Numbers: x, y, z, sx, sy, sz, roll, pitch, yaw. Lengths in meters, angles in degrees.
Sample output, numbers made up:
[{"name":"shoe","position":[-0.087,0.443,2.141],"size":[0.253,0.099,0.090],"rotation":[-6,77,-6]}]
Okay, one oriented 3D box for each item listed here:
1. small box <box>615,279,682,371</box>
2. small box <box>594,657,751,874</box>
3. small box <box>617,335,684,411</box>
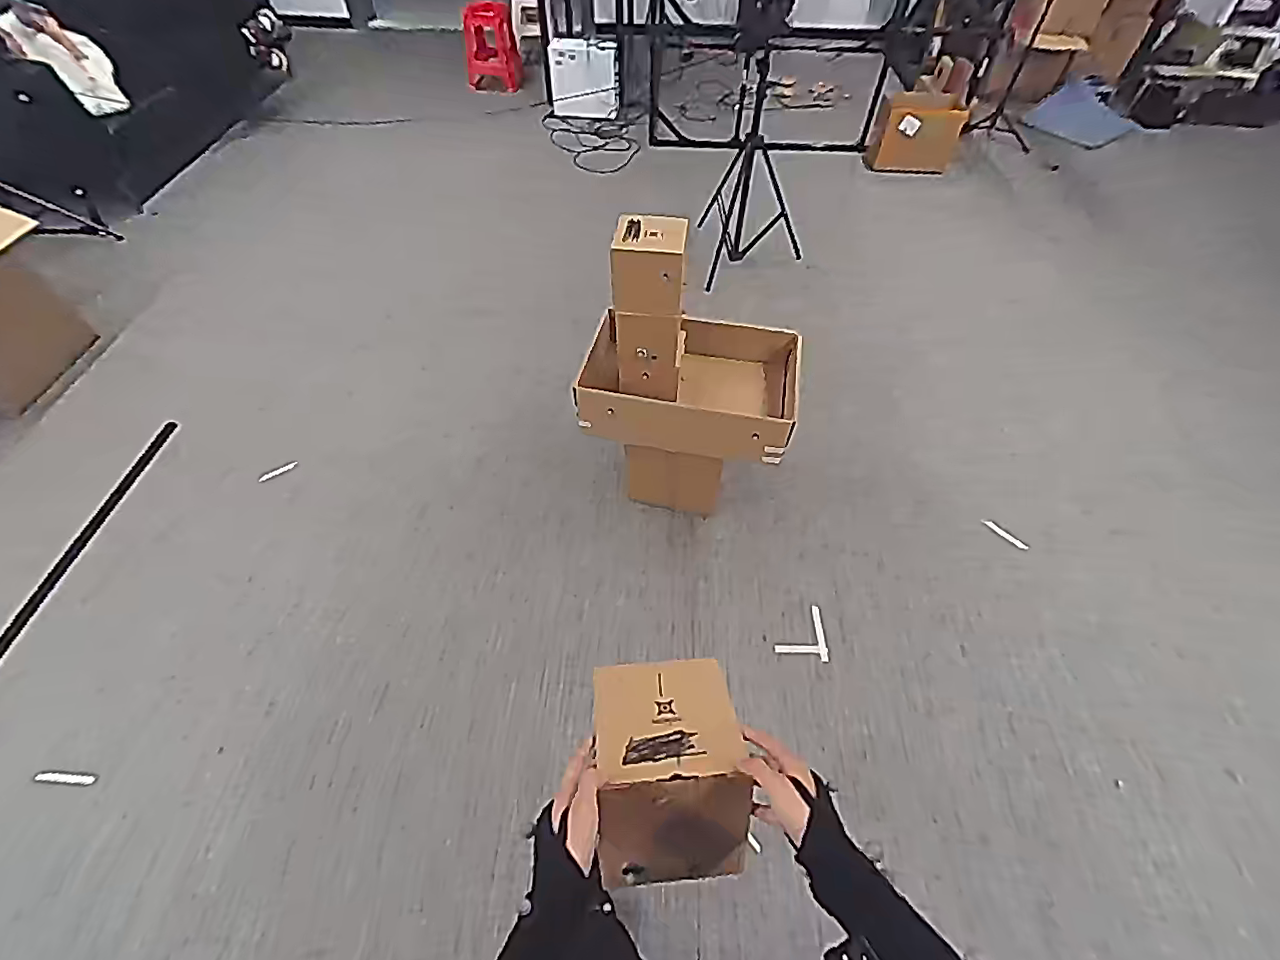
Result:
[{"name":"small box","position":[0.024,-0.427,1.491],"size":[0.168,0.176,0.179],"rotation":[5,52,4]},{"name":"small box","position":[0.030,0.346,0.662],"size":[0.168,0.176,0.179],"rotation":[-2,23,-5]},{"name":"small box","position":[0.032,-0.325,1.619],"size":[0.179,0.176,0.168],"rotation":[8,53,4]}]
